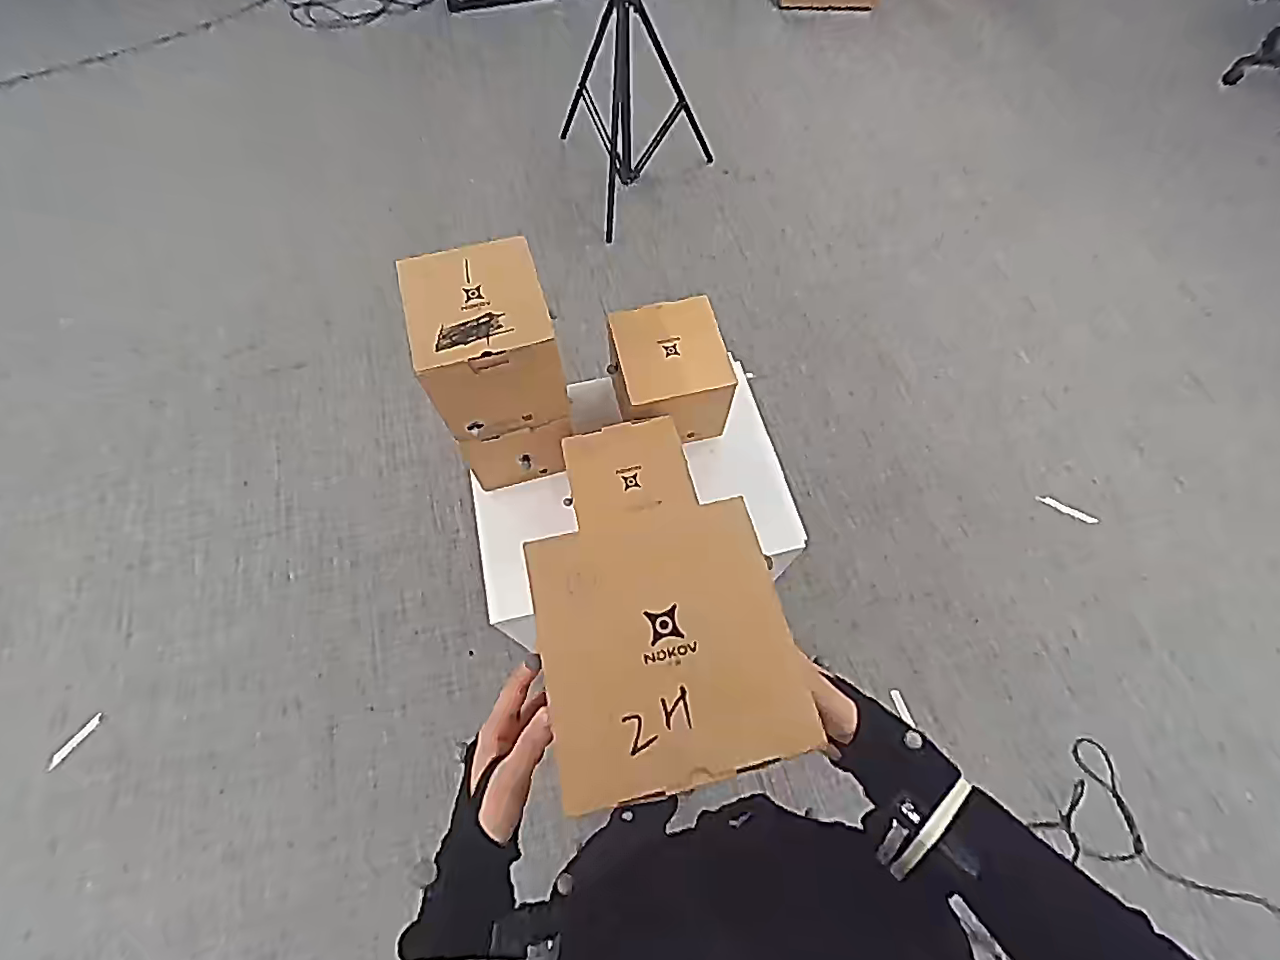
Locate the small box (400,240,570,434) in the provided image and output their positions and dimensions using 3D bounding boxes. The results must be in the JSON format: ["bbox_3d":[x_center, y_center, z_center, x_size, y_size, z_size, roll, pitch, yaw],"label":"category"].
[{"bbox_3d":[-0.198,-0.179,0.723,0.168,0.176,0.179,-15,67,-7],"label":"small box"}]

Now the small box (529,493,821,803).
[{"bbox_3d":[0.014,0.134,0.435,0.168,0.176,0.179,-12,67,-6],"label":"small box"}]

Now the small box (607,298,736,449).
[{"bbox_3d":[0.047,-0.166,0.900,0.168,0.176,0.179,-13,67,-5],"label":"small box"}]
